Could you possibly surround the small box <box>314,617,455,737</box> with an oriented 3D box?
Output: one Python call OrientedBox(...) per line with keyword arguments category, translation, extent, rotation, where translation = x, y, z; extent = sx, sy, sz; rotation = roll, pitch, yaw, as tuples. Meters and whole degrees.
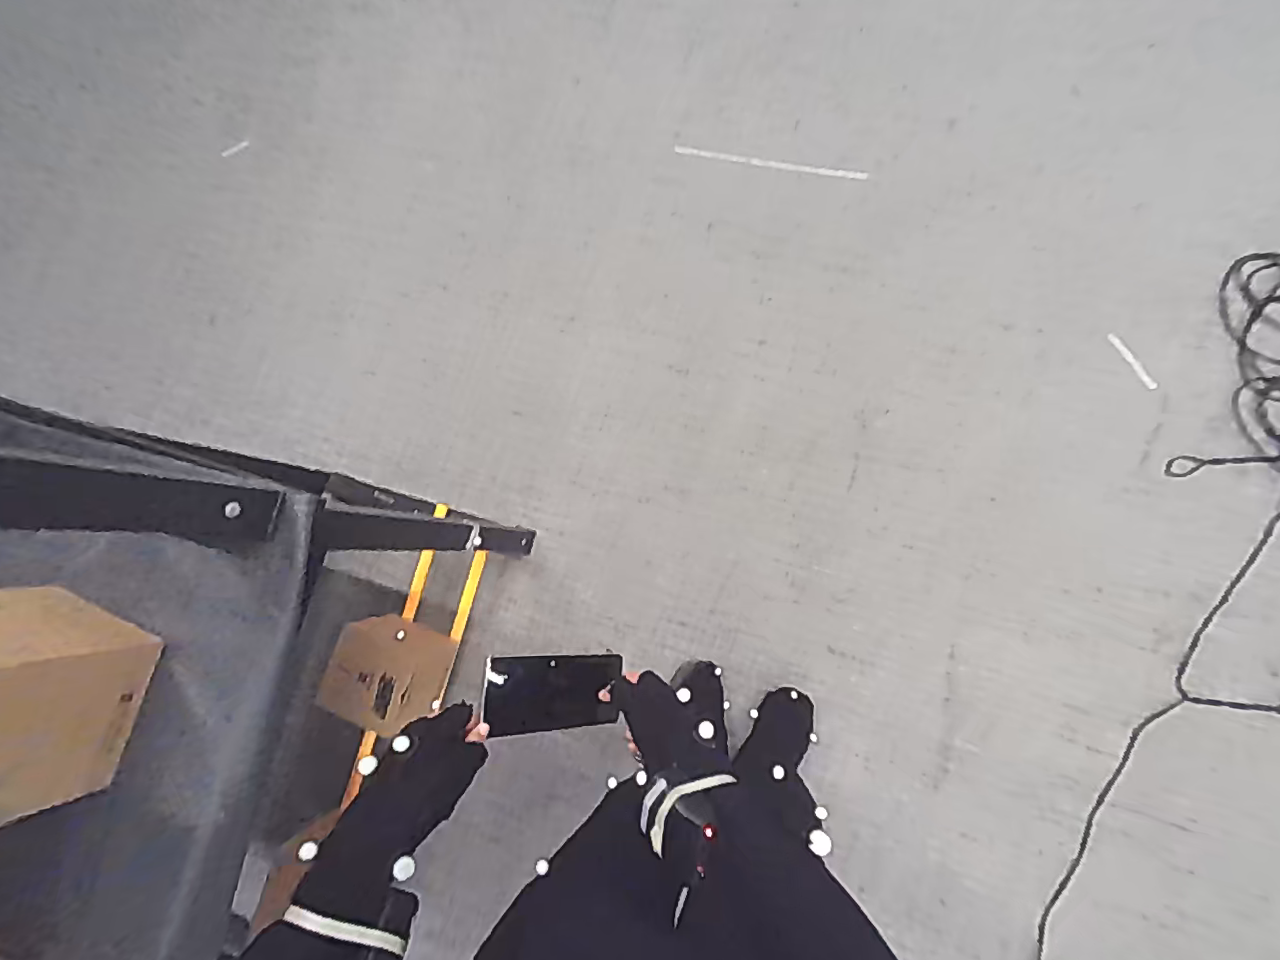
OrientedBox(category="small box", translation=(-0.515, 0.393, 1.116), extent=(0.179, 0.176, 0.168), rotation=(19, 85, 11))
